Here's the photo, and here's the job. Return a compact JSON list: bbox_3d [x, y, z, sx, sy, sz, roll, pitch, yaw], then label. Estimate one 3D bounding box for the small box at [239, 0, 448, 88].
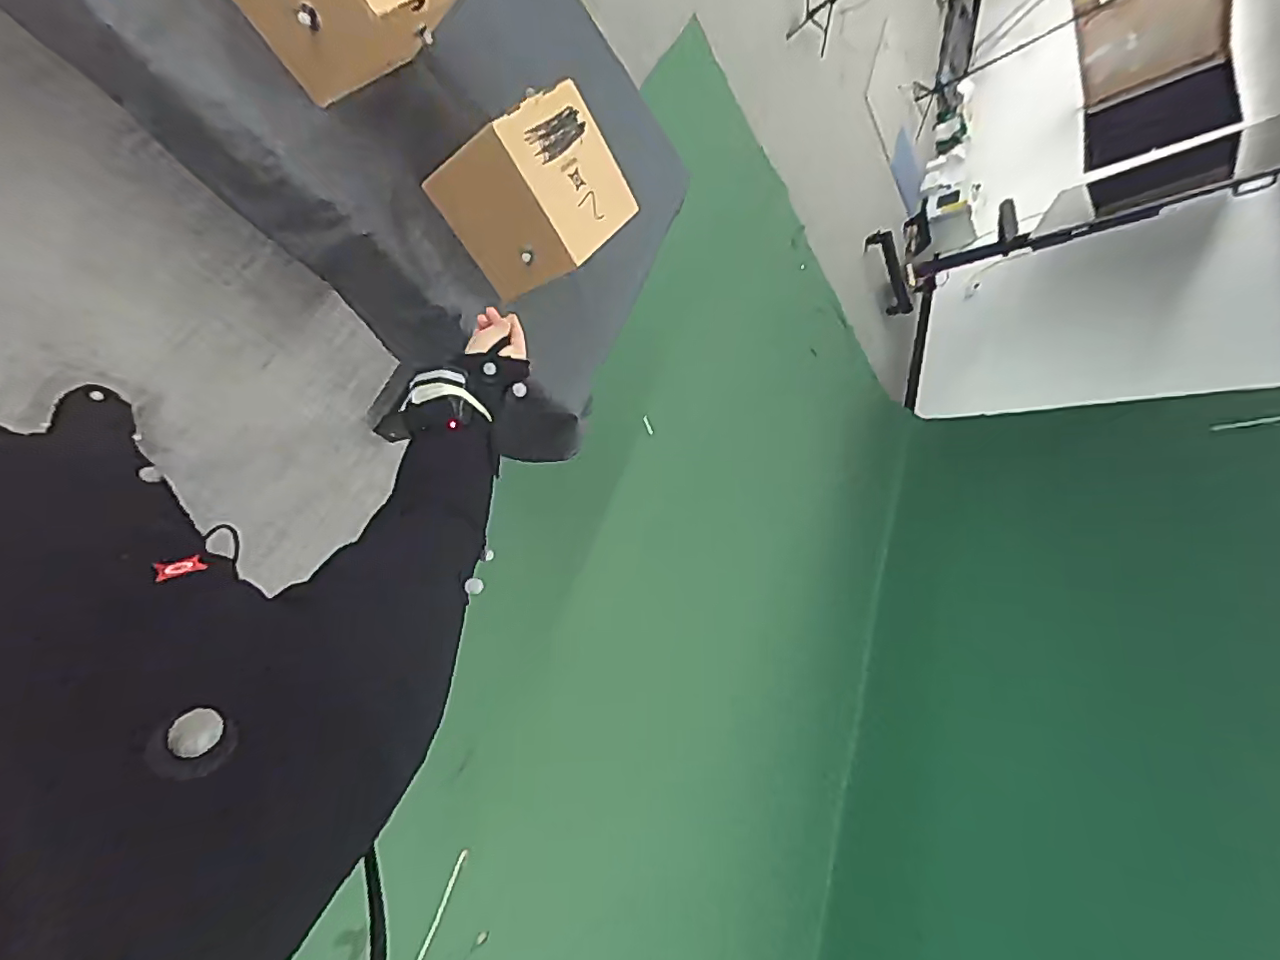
[{"bbox_3d":[-0.311,-0.544,0.550,0.179,0.176,0.168,51,53,-31],"label":"small box"}]
